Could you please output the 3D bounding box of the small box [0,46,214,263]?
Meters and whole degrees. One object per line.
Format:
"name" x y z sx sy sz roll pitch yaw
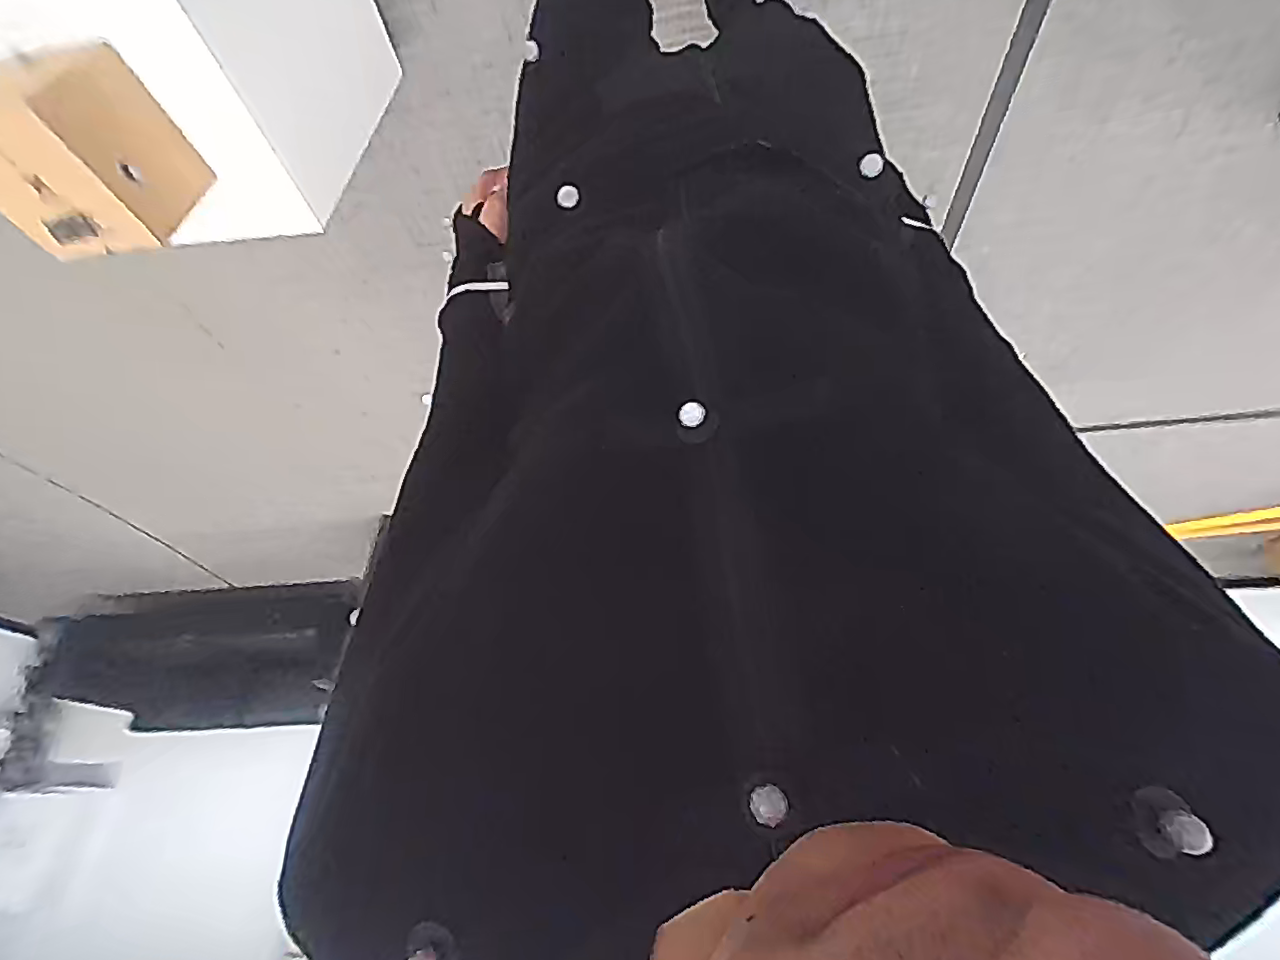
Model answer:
"small box" -0.714 -0.415 0.699 0.168 0.176 0.179 -5 147 7
